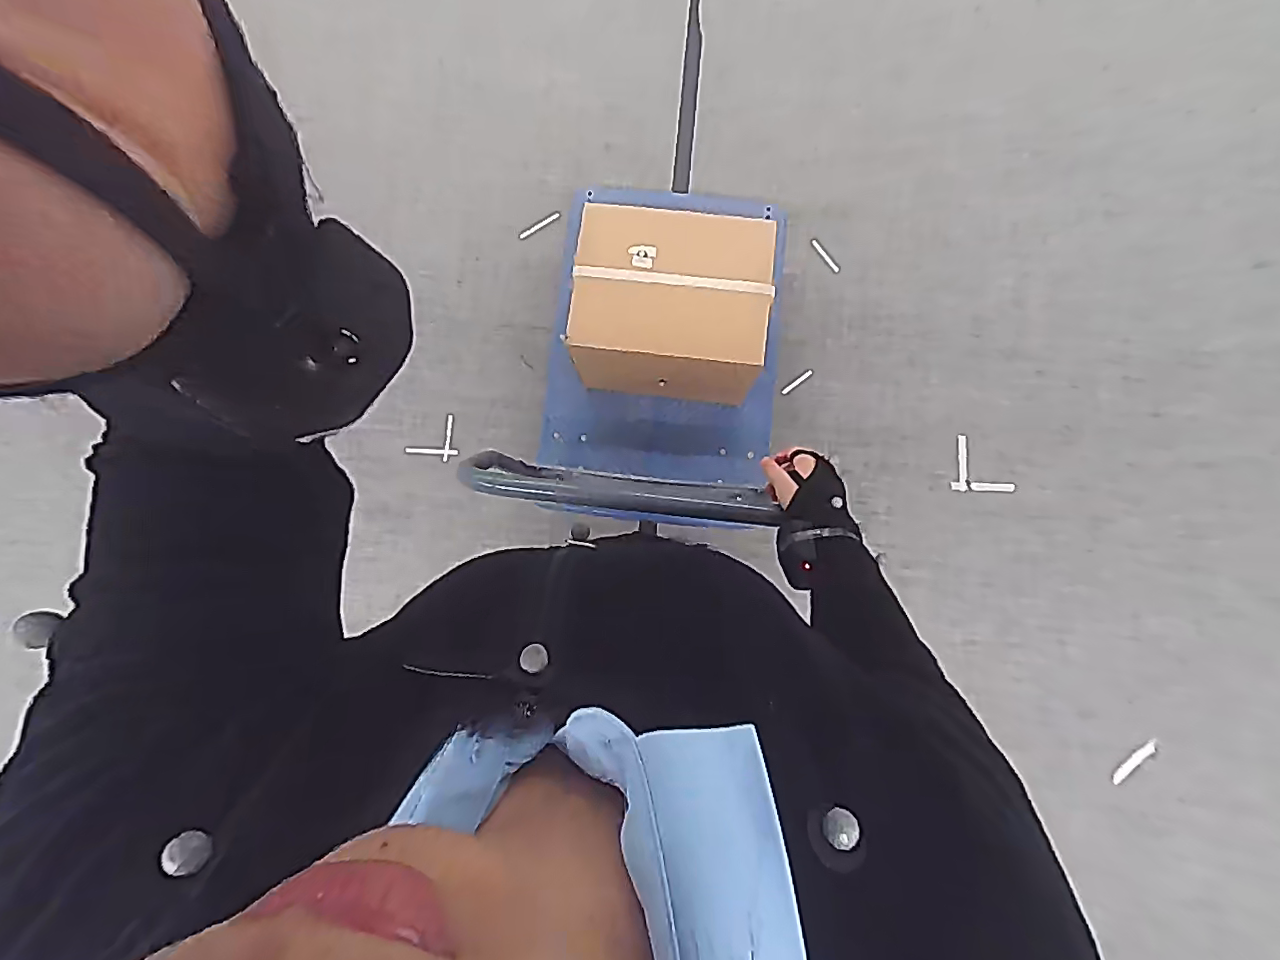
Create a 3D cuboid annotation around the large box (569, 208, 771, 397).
[{"bbox_3d":[0.072,-0.394,1.270,0.408,0.320,0.320,6,83,3],"label":"large box"}]
